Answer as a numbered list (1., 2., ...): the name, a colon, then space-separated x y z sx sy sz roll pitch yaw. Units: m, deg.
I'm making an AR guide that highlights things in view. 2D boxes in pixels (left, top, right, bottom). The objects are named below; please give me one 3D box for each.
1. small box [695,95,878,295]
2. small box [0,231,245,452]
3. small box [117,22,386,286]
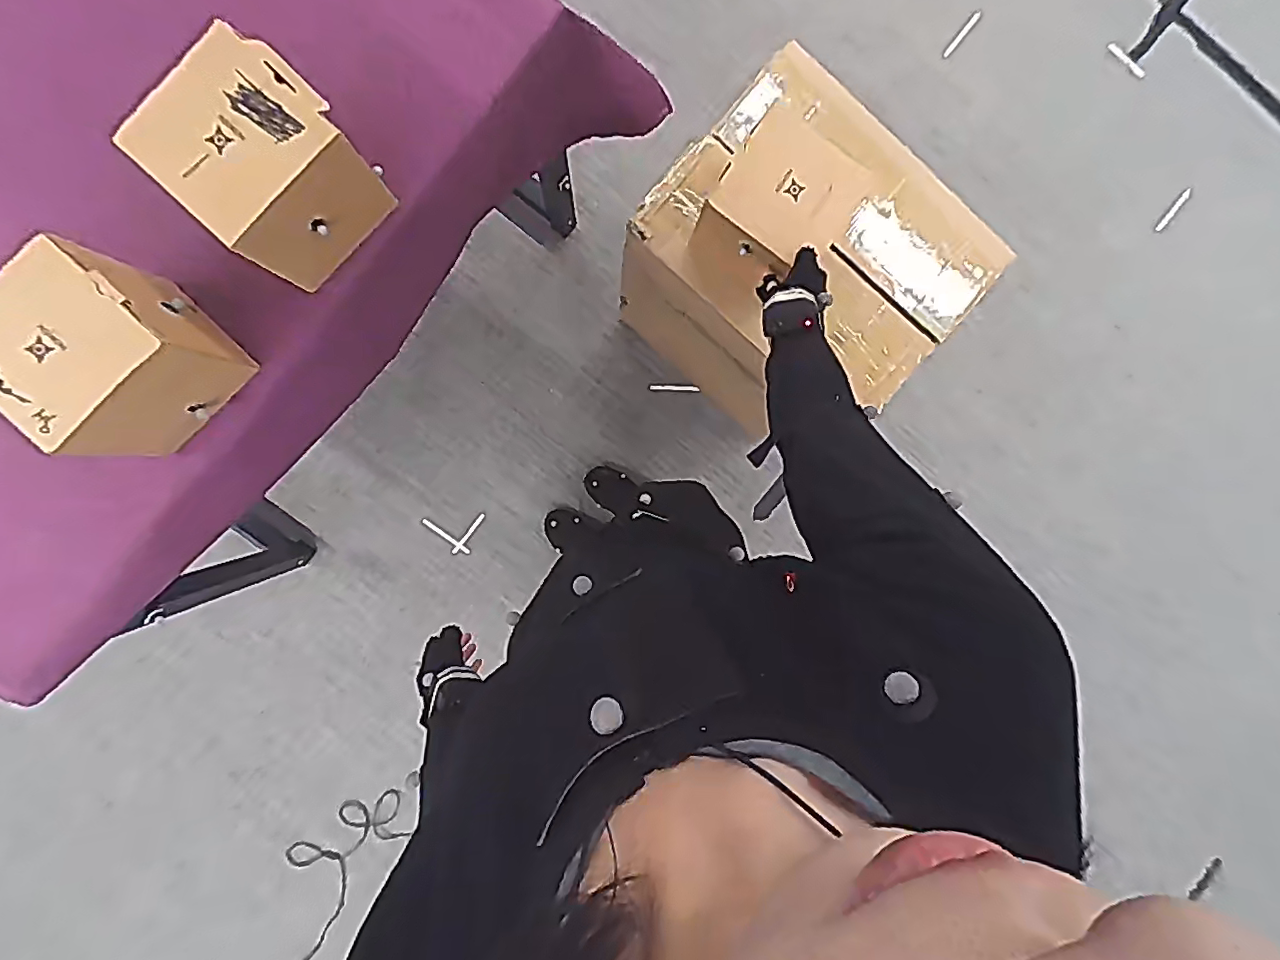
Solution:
1. small box: 0.200 -0.401 0.800 0.179 0.176 0.168 34 93 -6
2. small box: -0.631 -0.151 0.653 0.168 0.176 0.179 45 88 -4
3. small box: -0.441 -0.373 0.656 0.168 0.176 0.179 44 90 -3
